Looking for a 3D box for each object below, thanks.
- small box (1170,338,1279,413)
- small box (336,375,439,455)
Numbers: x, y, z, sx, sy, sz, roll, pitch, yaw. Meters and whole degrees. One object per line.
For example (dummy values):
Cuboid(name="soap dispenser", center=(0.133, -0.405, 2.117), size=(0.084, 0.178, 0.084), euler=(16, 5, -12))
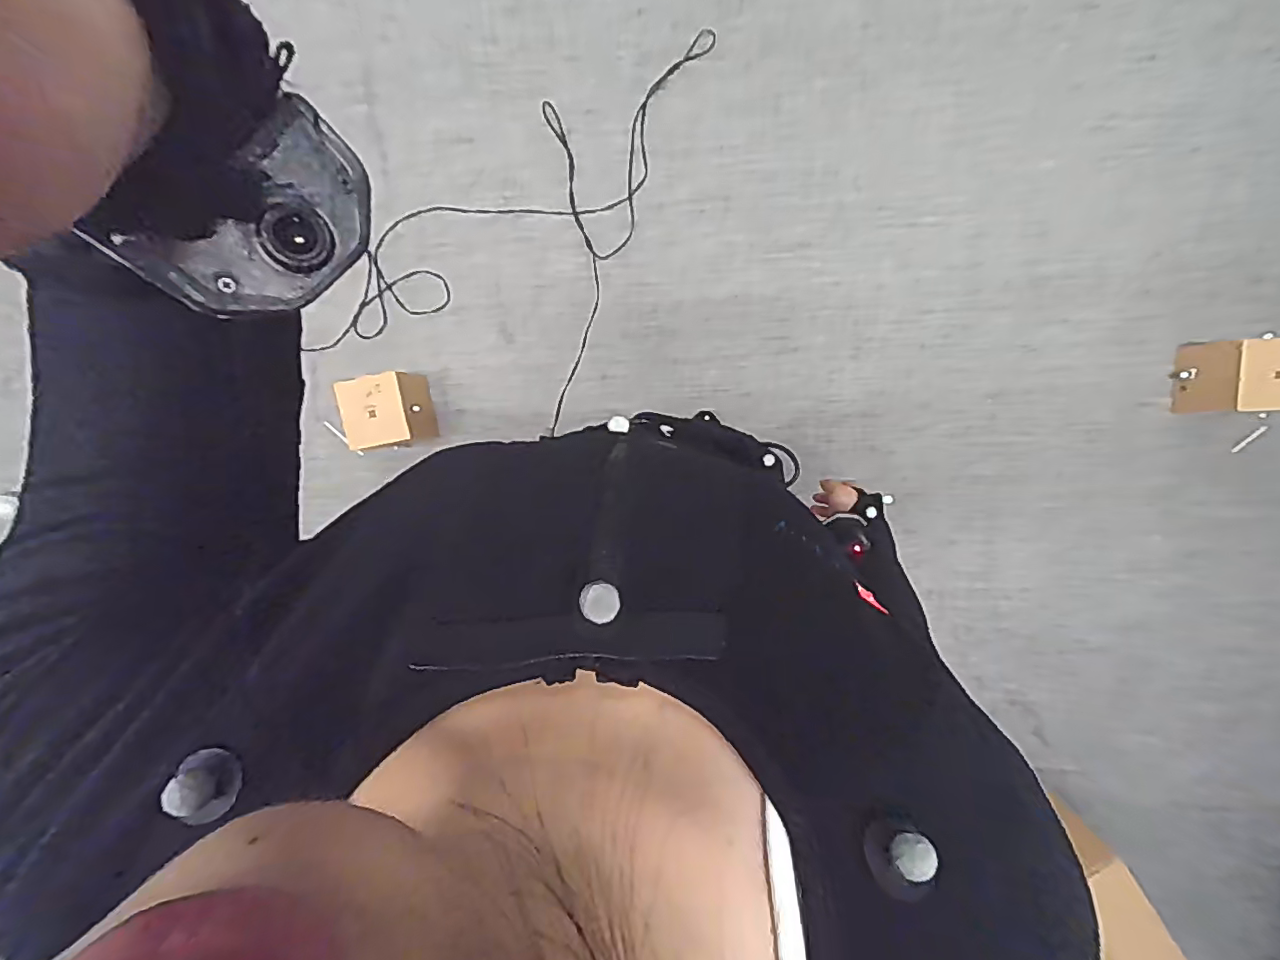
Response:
Cuboid(name="small box", center=(1.453, -0.248, 1.305), size=(0.179, 0.176, 0.168), euler=(-2, 95, 5))
Cuboid(name="small box", center=(-0.652, -0.170, 1.419), size=(0.168, 0.176, 0.179), euler=(-11, 95, 4))
